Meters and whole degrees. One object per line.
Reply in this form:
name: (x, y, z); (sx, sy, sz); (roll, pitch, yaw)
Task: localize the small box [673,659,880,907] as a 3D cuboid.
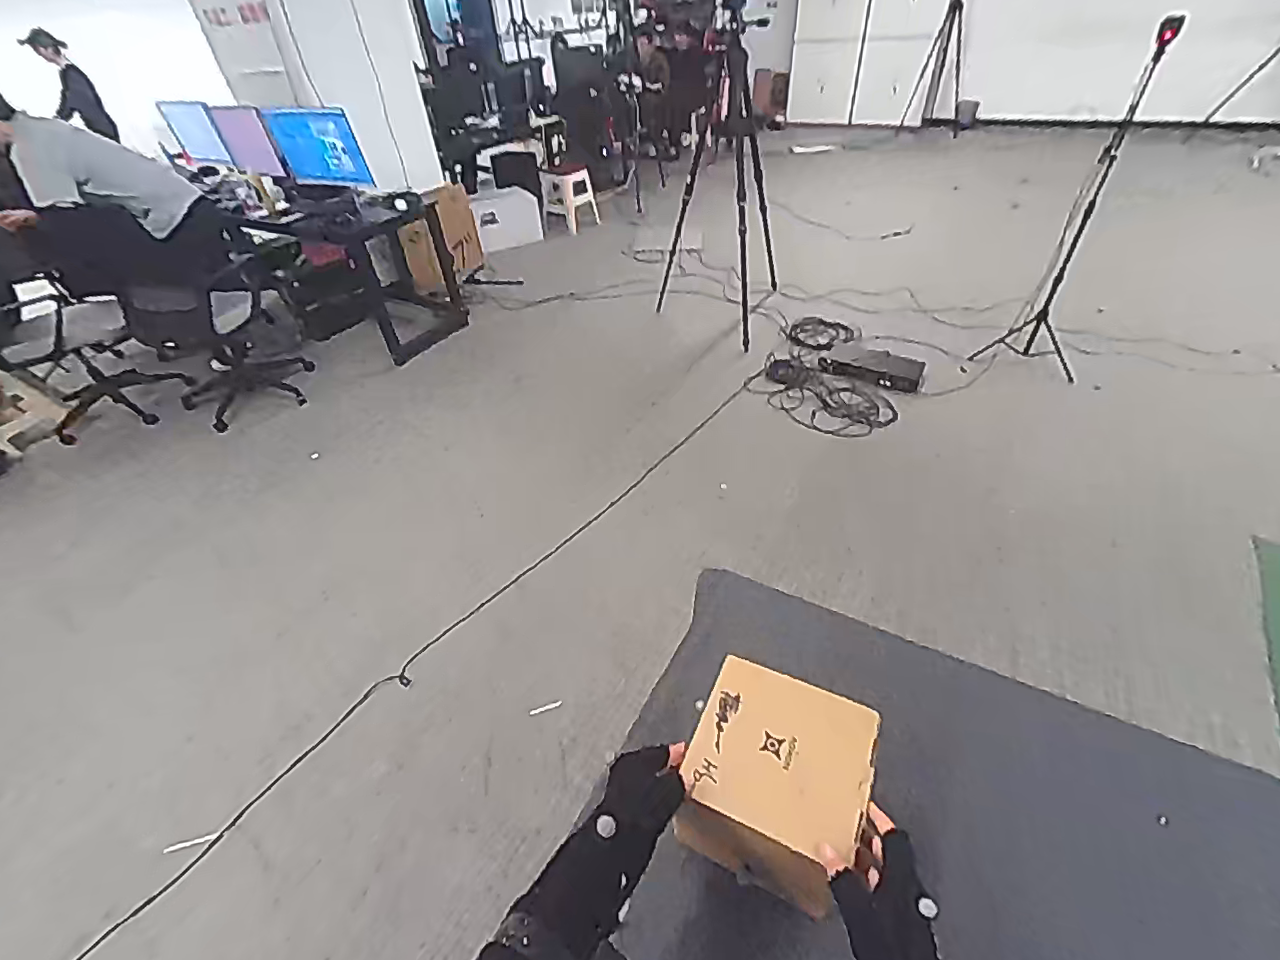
small box: (0.150, 0.345, 0.616); (0.179, 0.176, 0.168); (17, 45, 22)
